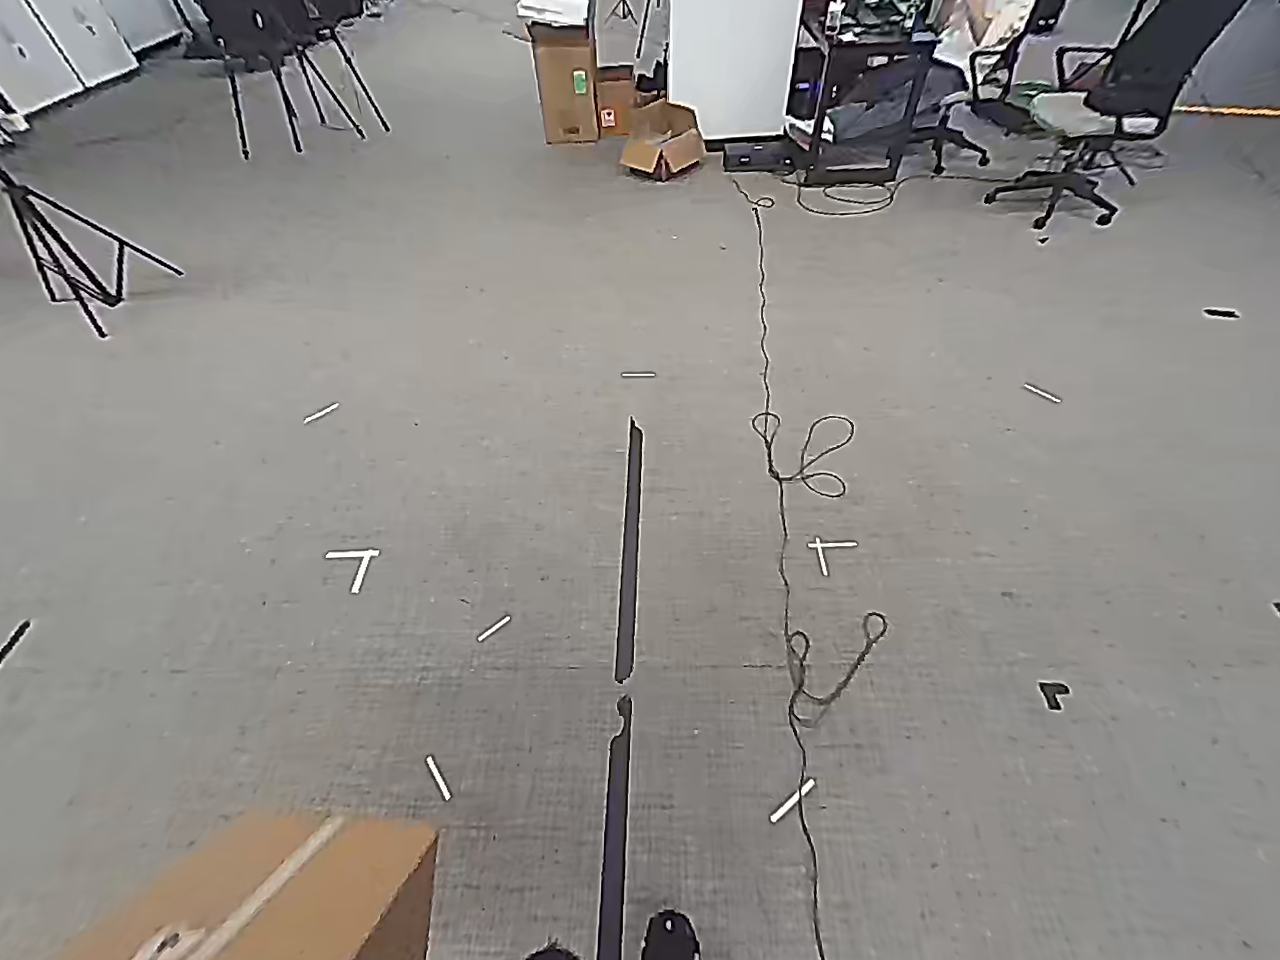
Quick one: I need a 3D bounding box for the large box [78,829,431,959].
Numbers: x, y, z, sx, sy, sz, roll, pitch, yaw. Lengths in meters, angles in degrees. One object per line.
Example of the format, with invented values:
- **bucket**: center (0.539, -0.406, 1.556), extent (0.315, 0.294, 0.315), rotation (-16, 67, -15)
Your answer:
- **large box**: center (-0.491, 0.702, 0.653), extent (0.320, 0.408, 0.320), rotation (3, 85, 0)
